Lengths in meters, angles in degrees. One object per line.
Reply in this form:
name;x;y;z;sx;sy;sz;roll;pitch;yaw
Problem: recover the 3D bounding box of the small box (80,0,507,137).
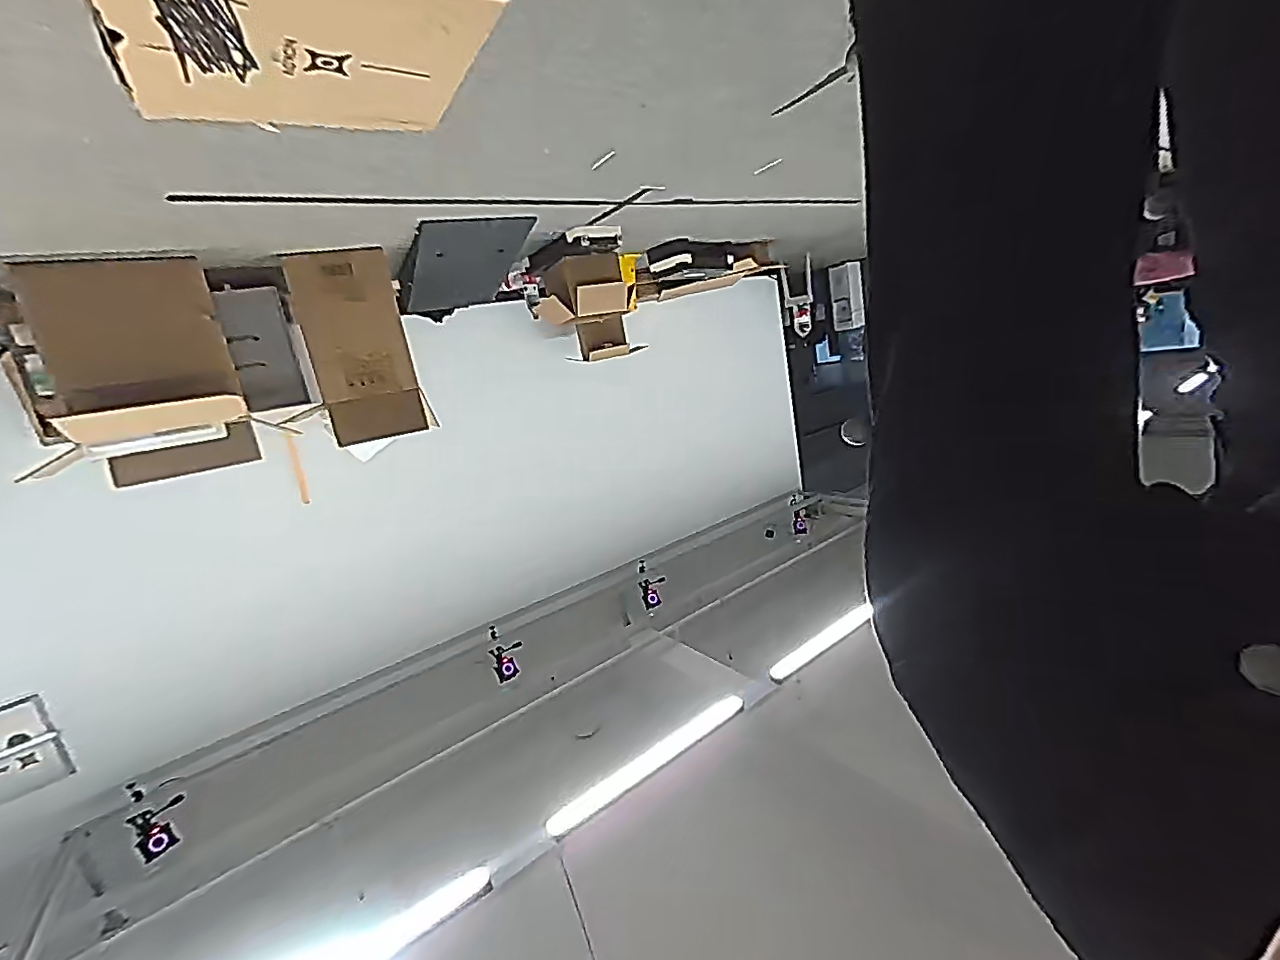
small box;-0.196;-0.307;0.278;0.179;0.176;0.168;-19;-163;-31
